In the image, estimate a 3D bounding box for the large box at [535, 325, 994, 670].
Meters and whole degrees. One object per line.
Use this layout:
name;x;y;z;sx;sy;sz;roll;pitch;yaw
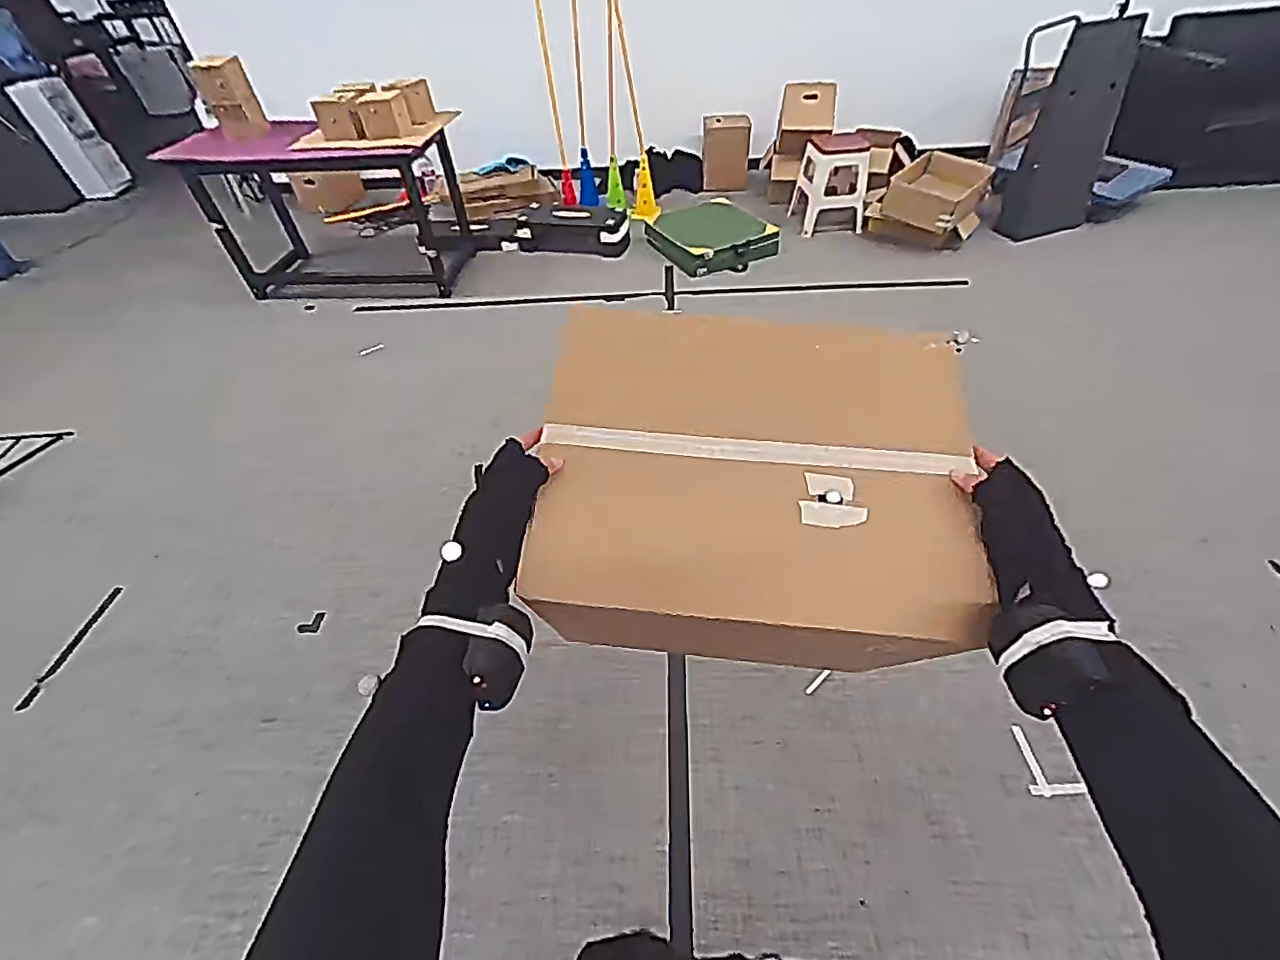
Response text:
large box;0.114;0.044;0.656;0.408;0.320;0.320;5;68;2
